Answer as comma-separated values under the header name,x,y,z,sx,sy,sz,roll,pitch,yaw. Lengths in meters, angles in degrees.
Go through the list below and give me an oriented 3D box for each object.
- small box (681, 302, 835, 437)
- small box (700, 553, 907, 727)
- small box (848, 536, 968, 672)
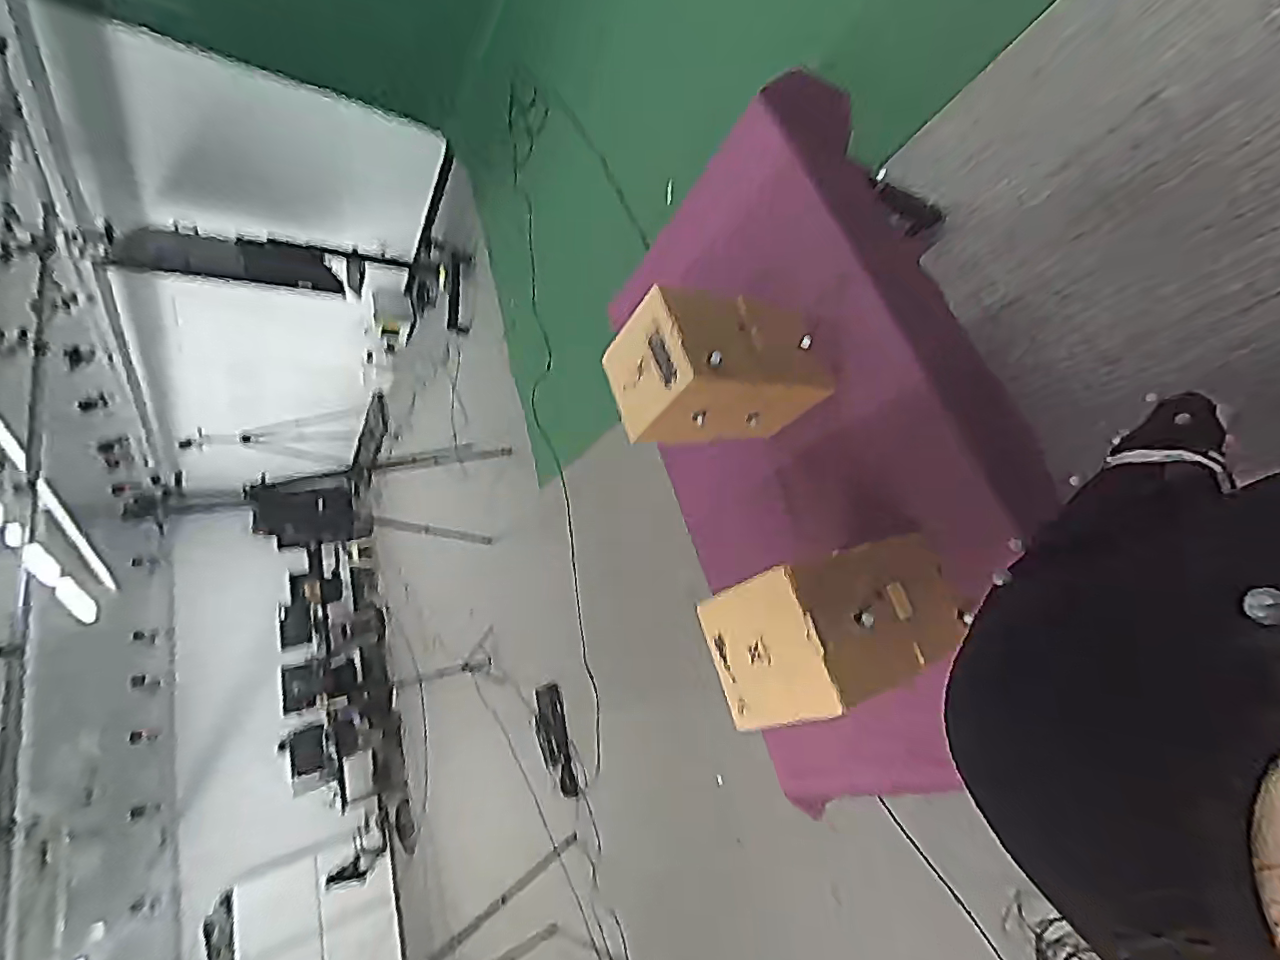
name,x,y,z,sx,sy,sz,roll,pitch,yaw
small box,0.207,-0.185,0.962,0.179,0.176,0.168,-39,62,48
small box,0.215,0.204,0.705,0.179,0.176,0.168,-40,60,47
small box,0.348,0.193,0.803,0.179,0.176,0.168,-44,58,47
